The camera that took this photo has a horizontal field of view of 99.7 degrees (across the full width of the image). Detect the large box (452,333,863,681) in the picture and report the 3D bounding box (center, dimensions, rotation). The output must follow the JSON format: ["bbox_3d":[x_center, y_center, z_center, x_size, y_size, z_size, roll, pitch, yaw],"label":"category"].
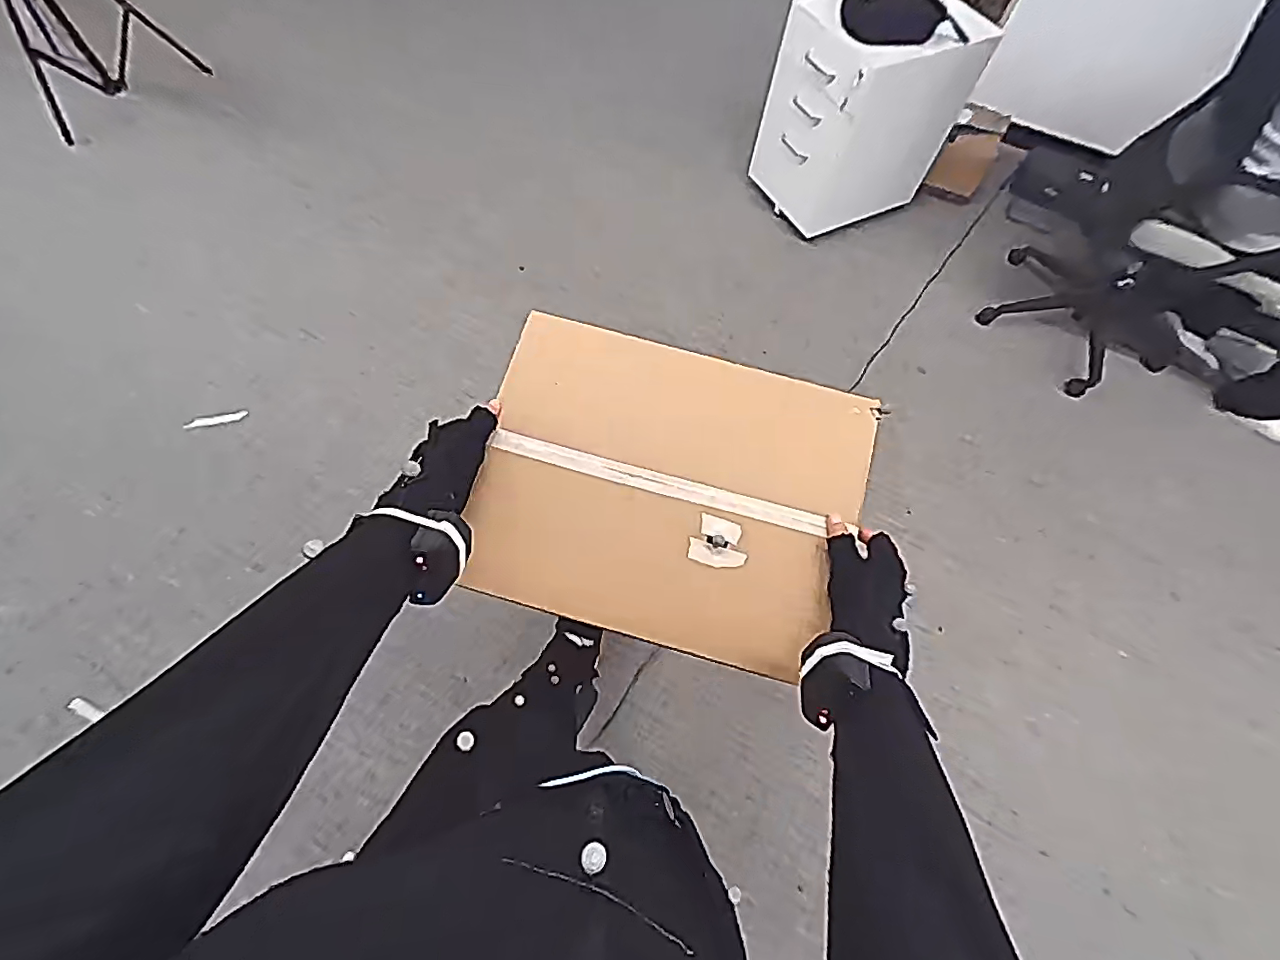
[{"bbox_3d":[0.024,0.053,0.738,0.408,0.320,0.320,16,76,2],"label":"large box"}]
